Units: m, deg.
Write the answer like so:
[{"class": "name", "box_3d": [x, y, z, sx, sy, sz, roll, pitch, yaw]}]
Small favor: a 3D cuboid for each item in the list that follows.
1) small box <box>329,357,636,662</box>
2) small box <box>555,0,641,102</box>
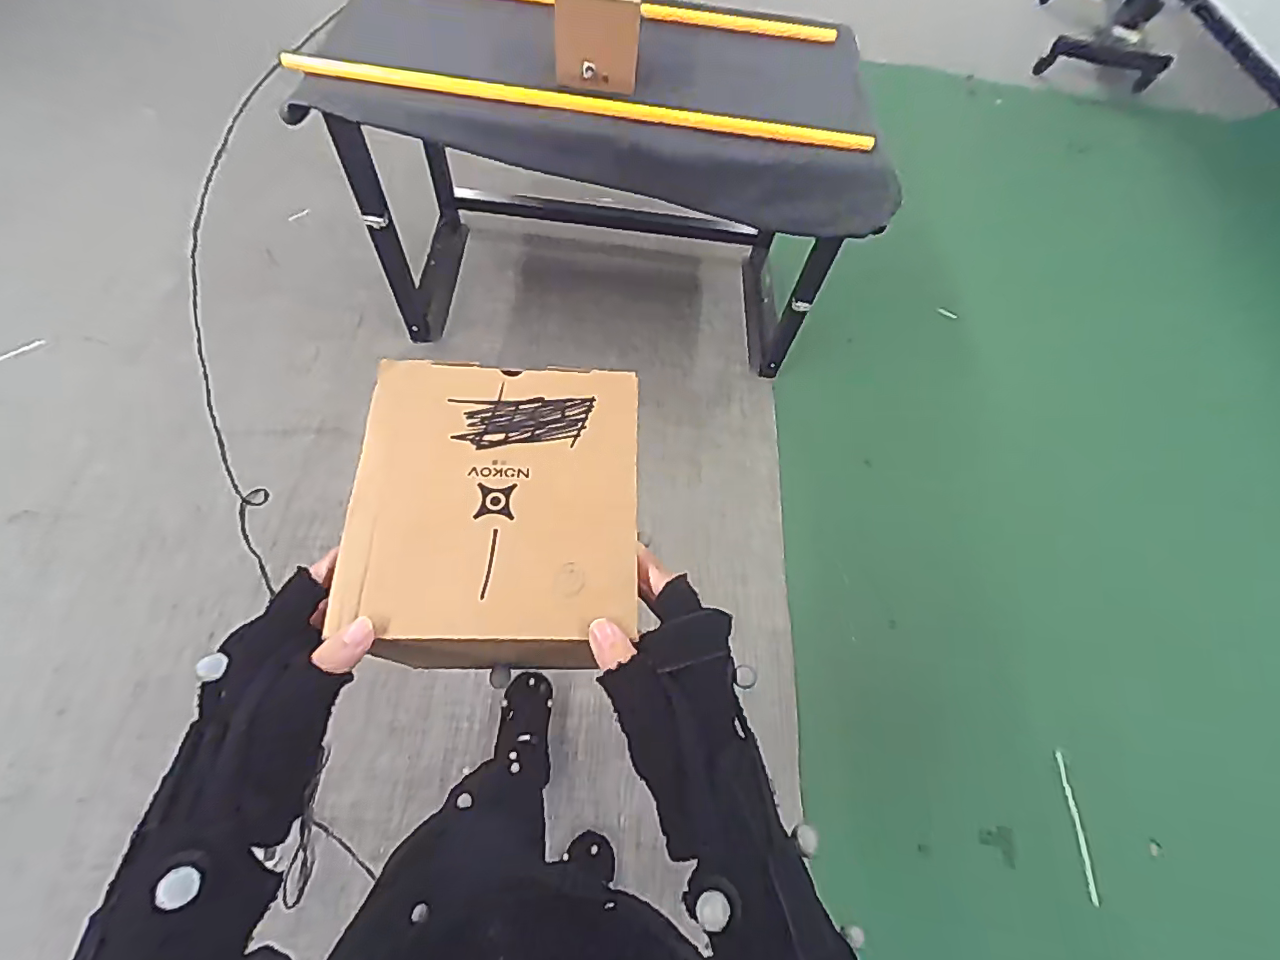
[{"class": "small box", "box_3d": [-0.092, 0.033, 0.399, 0.168, 0.176, 0.179, 2, 66, -4]}, {"class": "small box", "box_3d": [-0.086, -0.940, 1.138, 0.168, 0.176, 0.179, 3, 63, -3]}]
